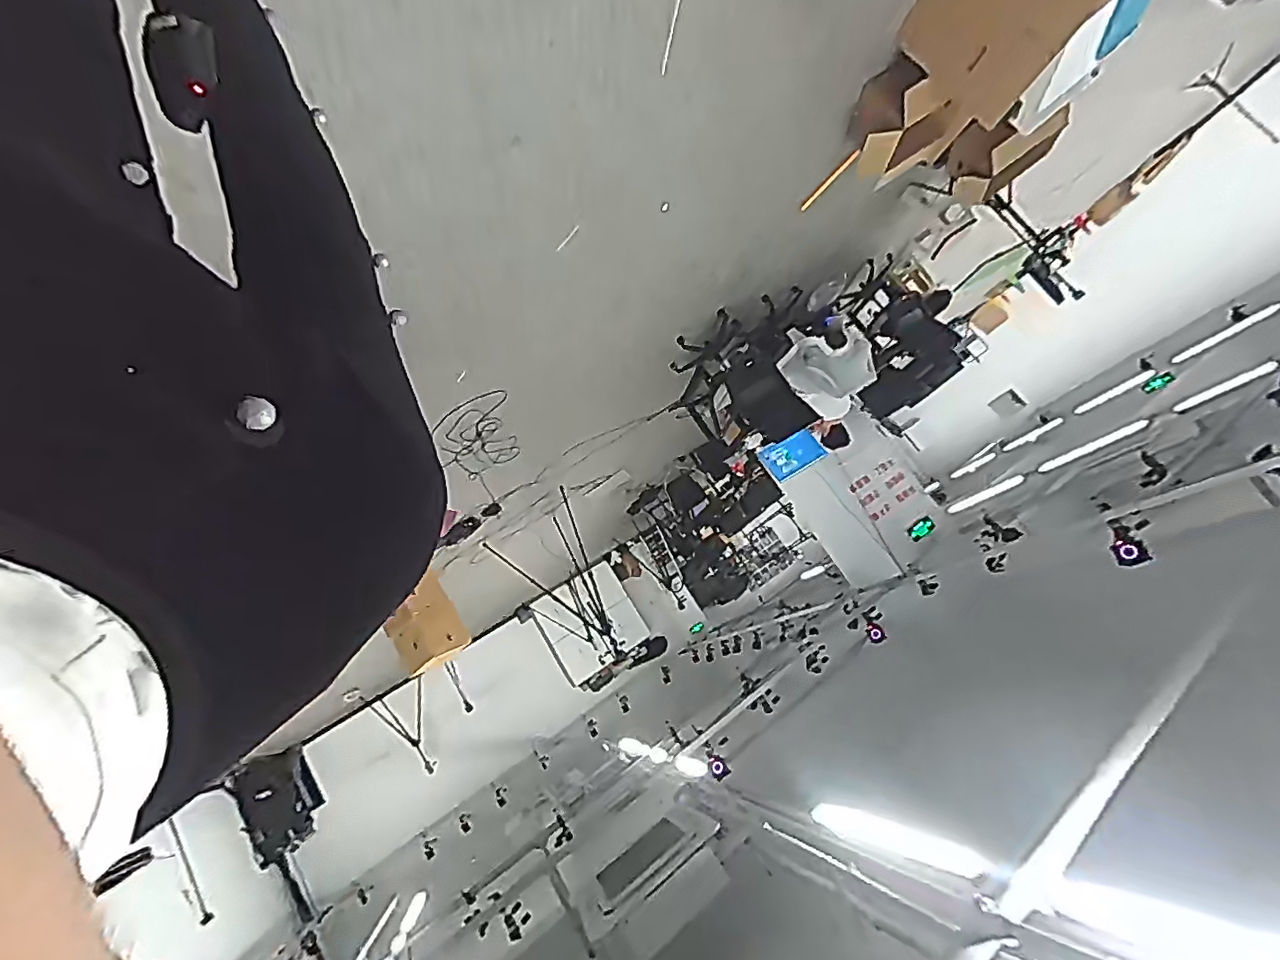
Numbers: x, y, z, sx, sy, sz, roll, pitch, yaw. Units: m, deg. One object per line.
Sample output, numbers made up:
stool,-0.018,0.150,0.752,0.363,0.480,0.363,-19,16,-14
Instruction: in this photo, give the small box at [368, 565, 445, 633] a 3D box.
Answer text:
small box,-0.855,0.422,1.967,0.179,0.176,0.168,-39,166,25

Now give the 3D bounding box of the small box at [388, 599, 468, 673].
small box,-0.763,0.552,1.936,0.168,0.176,0.179,-40,166,27
